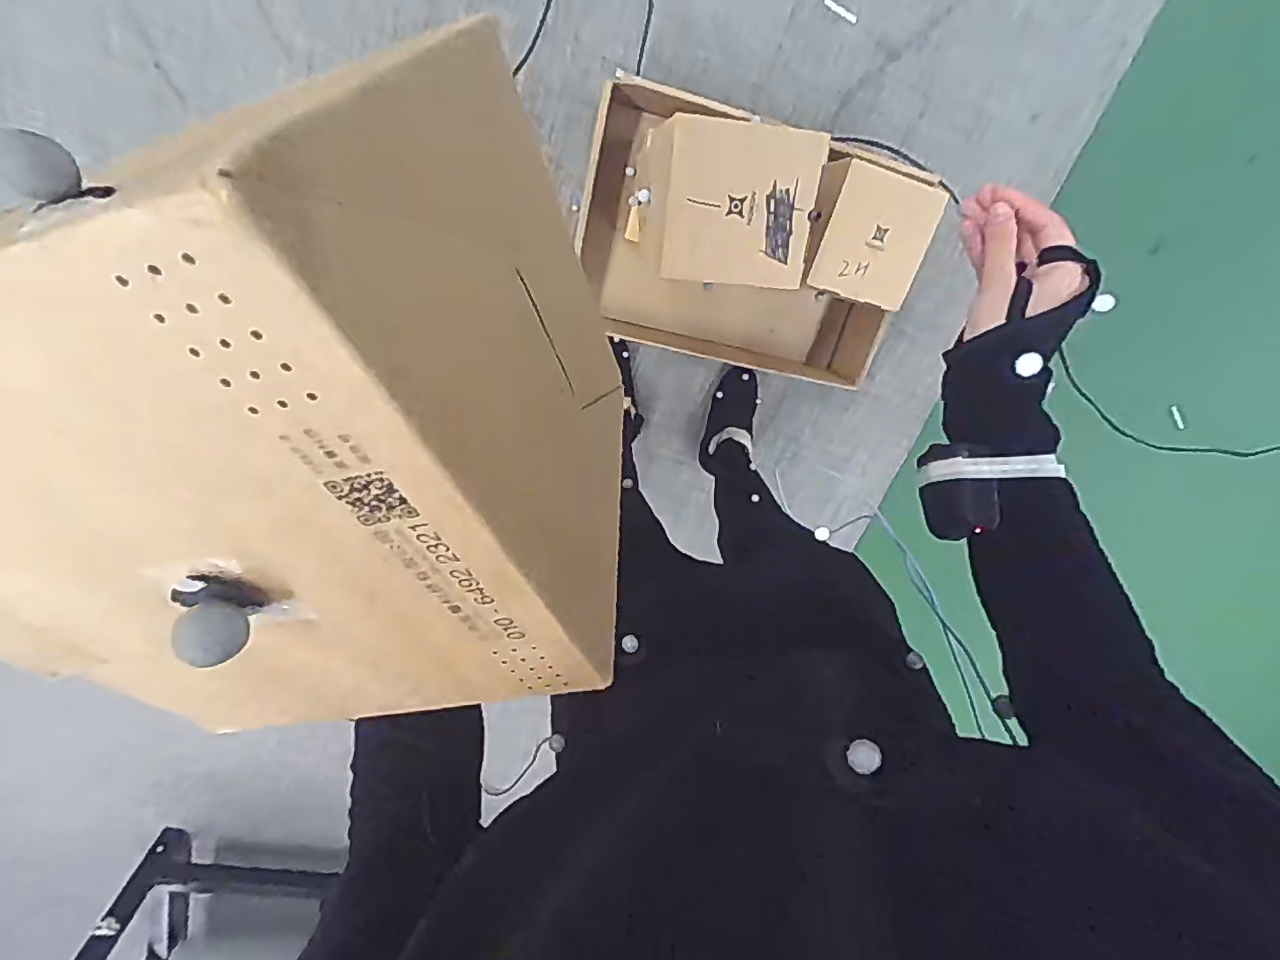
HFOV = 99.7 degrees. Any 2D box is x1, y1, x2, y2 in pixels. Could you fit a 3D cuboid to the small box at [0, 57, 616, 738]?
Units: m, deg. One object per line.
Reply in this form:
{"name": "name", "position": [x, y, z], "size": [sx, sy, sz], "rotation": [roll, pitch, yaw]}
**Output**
{"name": "small box", "position": [-0.115, -0.024, 0.205], "size": [0.176, 0.179, 0.168], "rotation": [-10, 136, 14]}

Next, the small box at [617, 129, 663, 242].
{"name": "small box", "position": [0.064, -0.495, 0.962], "size": [0.179, 0.176, 0.168], "rotation": [10, 114, -14]}

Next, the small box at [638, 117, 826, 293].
{"name": "small box", "position": [0.100, -0.337, 0.679], "size": [0.179, 0.176, 0.168], "rotation": [1, 116, -9]}

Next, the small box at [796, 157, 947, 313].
{"name": "small box", "position": [0.335, -0.387, 0.867], "size": [0.168, 0.176, 0.179], "rotation": [12, 113, -12]}
